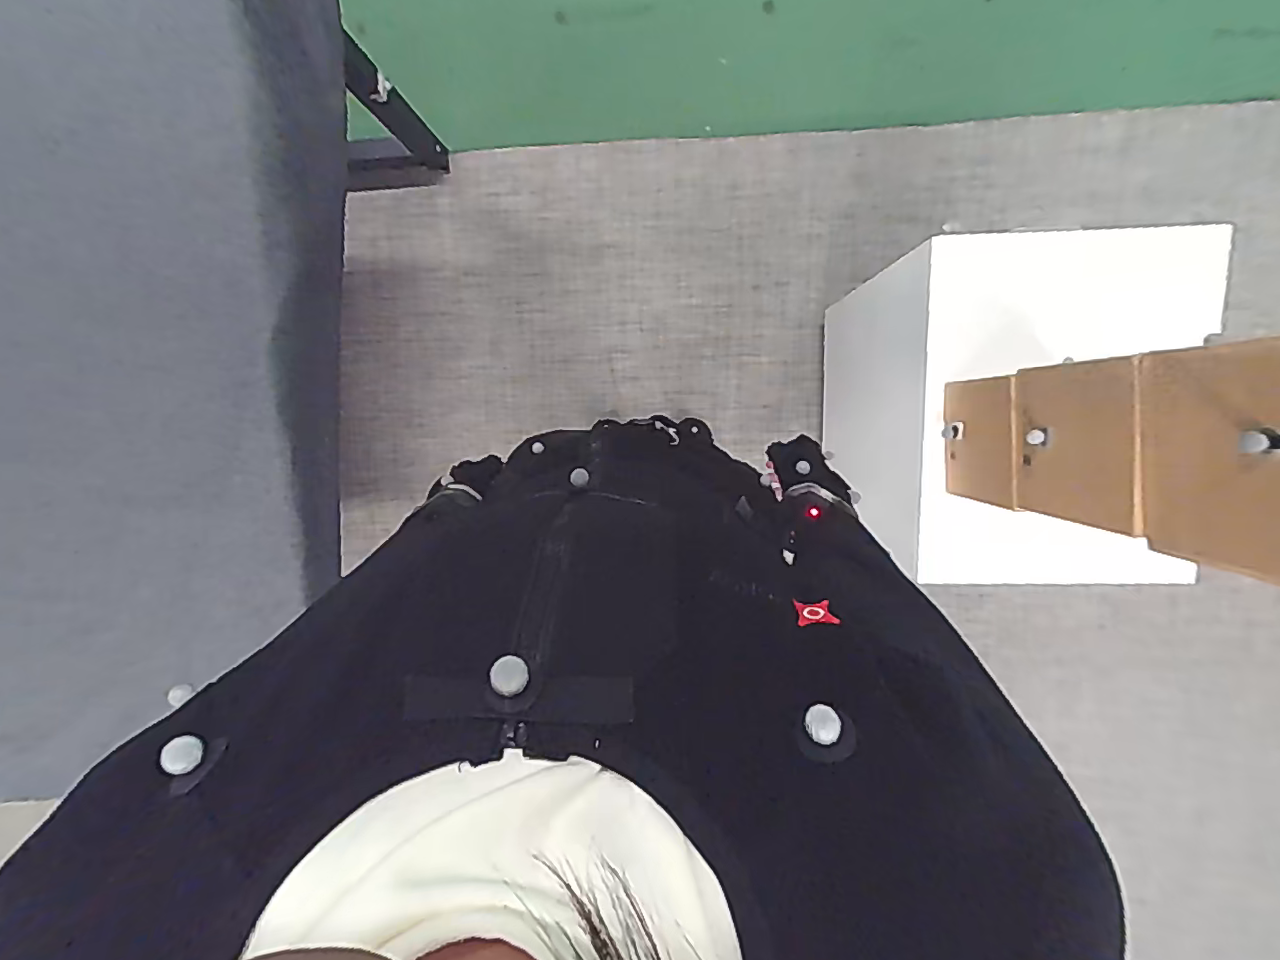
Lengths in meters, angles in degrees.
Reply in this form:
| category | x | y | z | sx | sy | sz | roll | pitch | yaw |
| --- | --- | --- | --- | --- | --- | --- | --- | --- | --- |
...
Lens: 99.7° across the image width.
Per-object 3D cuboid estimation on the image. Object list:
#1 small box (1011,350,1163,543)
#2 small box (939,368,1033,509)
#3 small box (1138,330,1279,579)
| category | x | y | z | sx | sy | sz | roll | pitch | yaw |
| --- | --- | --- | --- | --- | --- | --- | --- | --- | --- |
| small box | 0.514 | -0.044 | 0.541 | 0.179 | 0.176 | 0.168 | -7 | 97 | 3 |
| small box | 0.519 | -0.062 | 0.704 | 0.179 | 0.176 | 0.168 | -5 | 96 | 6 |
| small box | 0.501 | -0.023 | 0.379 | 0.168 | 0.176 | 0.179 | -6 | 96 | 5 |
